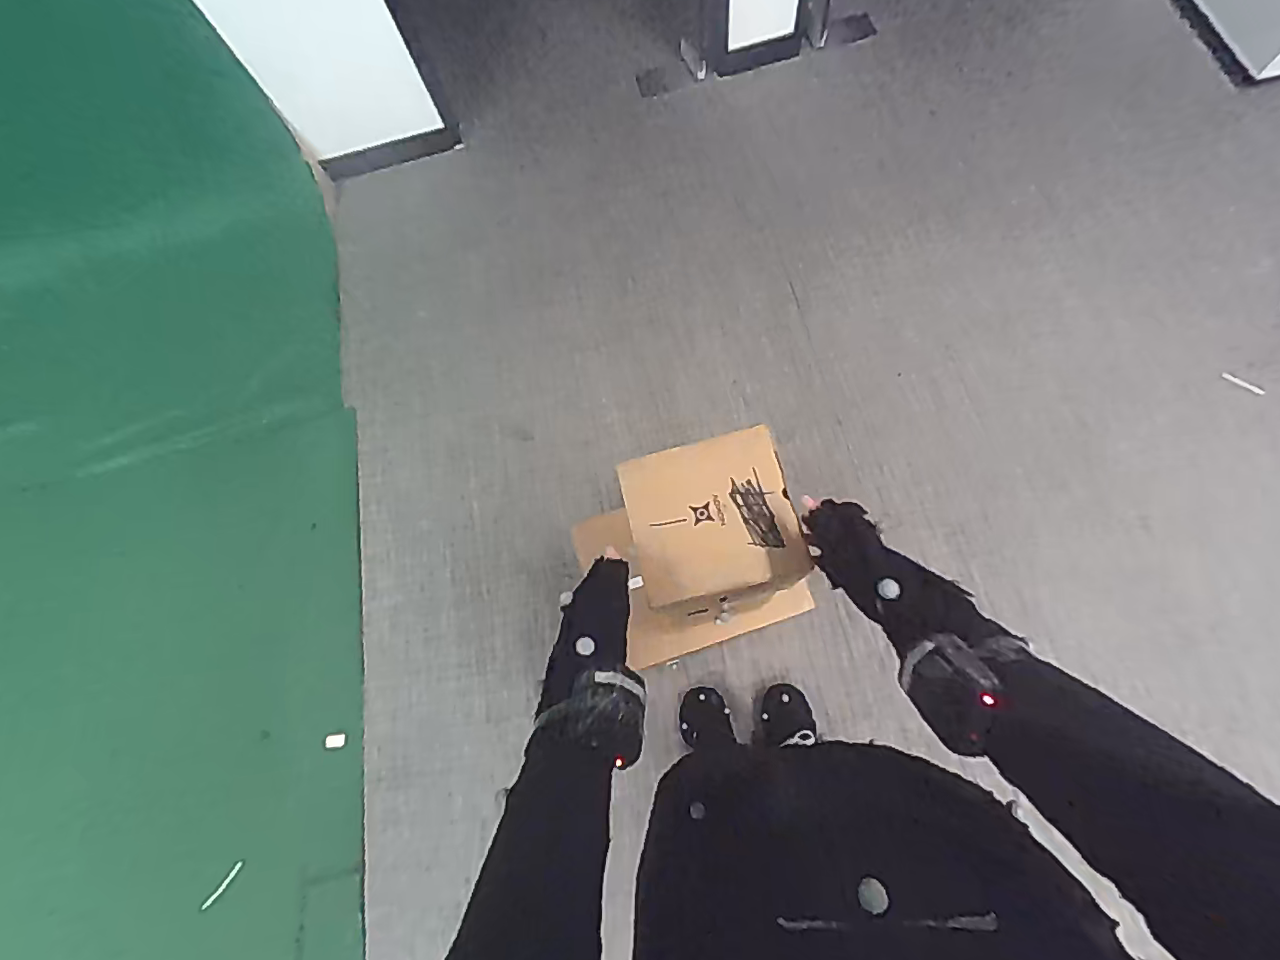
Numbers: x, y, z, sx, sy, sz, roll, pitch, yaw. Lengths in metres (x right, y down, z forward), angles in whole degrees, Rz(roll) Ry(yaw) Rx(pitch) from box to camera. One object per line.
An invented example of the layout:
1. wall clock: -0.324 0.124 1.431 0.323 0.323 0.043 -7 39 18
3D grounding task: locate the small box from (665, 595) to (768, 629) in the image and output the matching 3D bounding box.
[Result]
1. small box: 0.111 0.162 0.961 0.179 0.176 0.168 -16 72 0

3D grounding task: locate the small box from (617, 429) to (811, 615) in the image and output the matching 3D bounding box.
1. small box: 0.082 0.060 0.650 0.179 0.176 0.168 -14 71 3
